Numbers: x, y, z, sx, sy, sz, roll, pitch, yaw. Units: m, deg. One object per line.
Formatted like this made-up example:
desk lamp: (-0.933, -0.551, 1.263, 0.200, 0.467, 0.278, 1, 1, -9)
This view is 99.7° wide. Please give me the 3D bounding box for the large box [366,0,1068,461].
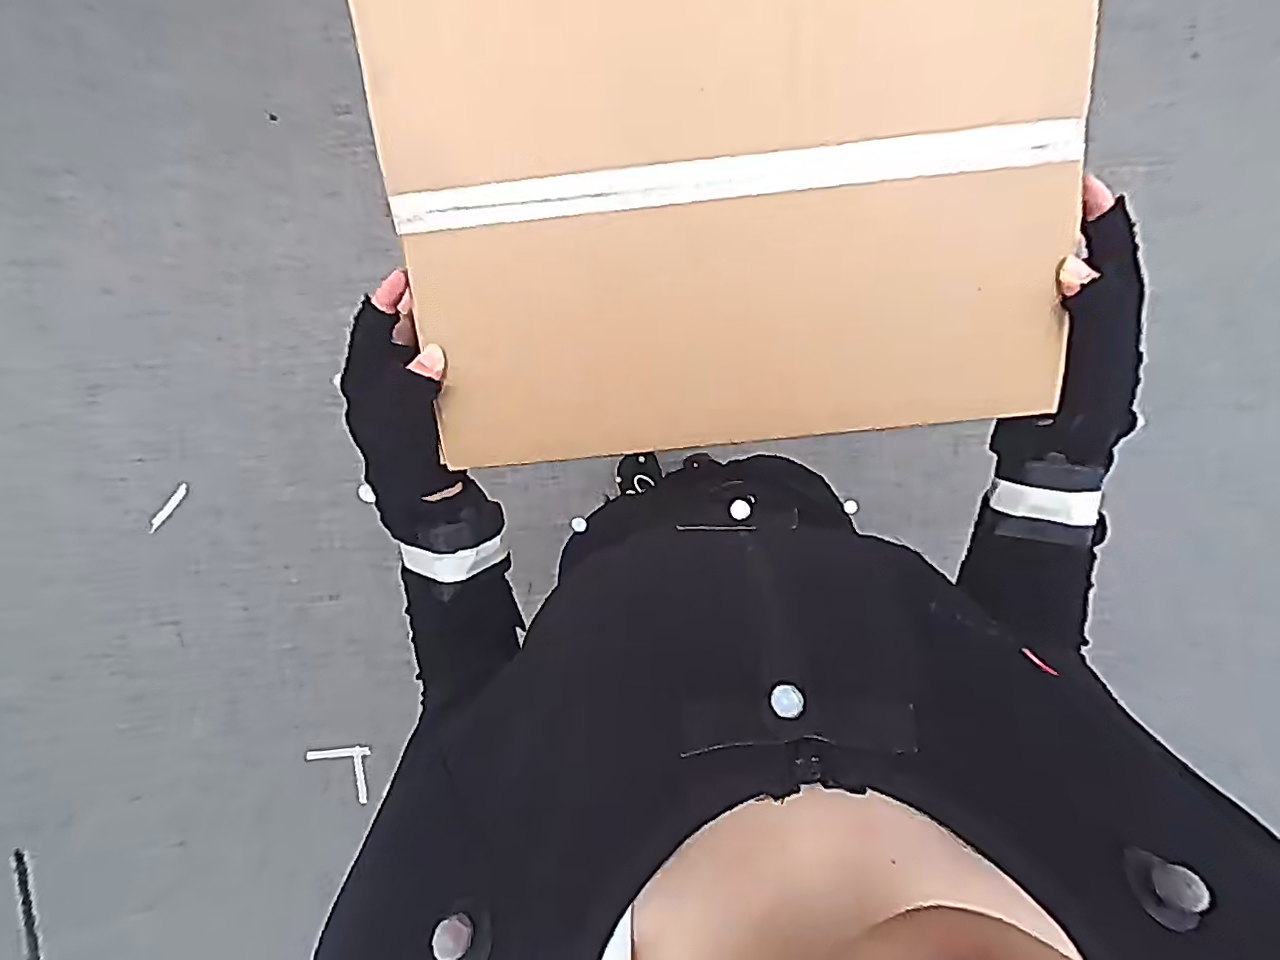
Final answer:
large box: (0.051, -0.218, 0.475, 0.408, 0.320, 0.320, -6, 105, 1)
